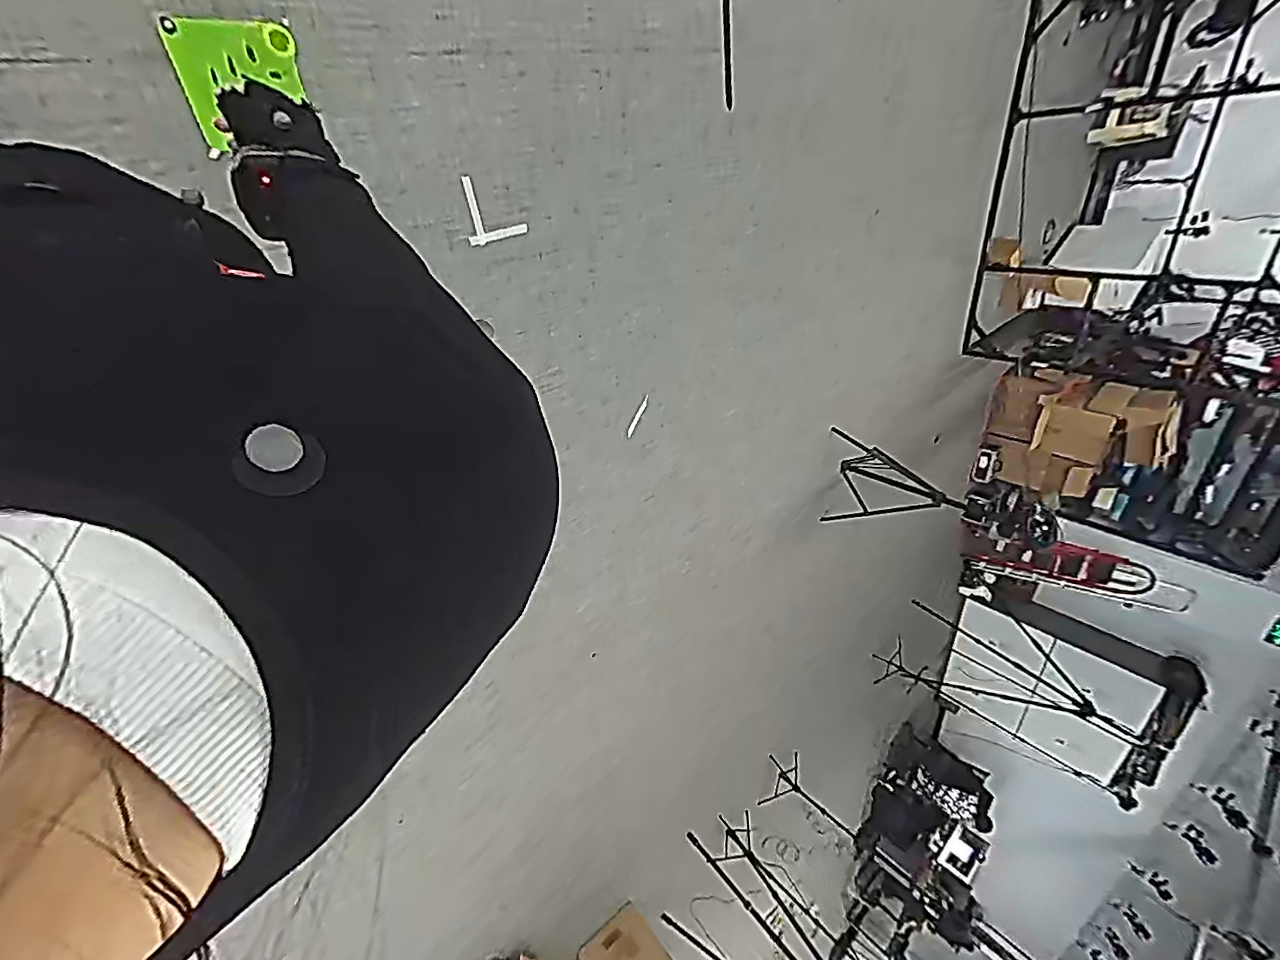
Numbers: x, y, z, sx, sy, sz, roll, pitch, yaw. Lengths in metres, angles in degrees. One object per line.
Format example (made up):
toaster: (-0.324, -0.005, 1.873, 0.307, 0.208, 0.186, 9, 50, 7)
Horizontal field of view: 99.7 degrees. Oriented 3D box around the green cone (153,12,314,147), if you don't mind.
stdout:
green cone: (-0.637, -0.692, 0.901, 0.202, 0.368, 0.200, -29, 127, -33)
